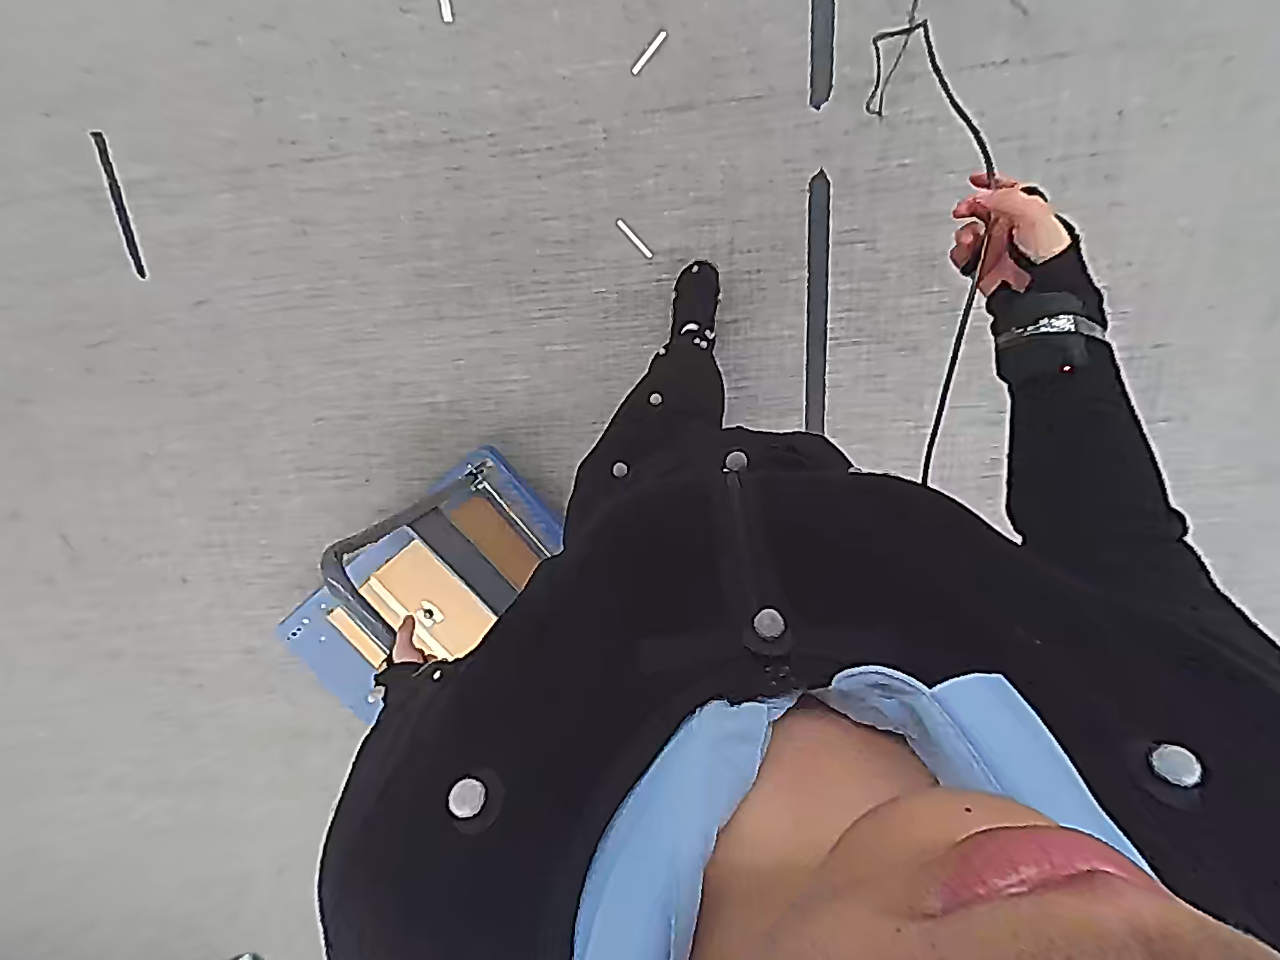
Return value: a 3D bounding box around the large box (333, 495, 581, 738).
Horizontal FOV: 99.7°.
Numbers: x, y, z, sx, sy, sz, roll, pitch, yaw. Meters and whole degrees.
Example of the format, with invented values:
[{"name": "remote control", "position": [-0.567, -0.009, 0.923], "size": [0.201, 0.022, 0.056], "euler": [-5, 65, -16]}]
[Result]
[{"name": "large box", "position": [-0.407, 0.309, 1.300], "size": [0.320, 0.320, 0.408], "euler": [-38, 97, 13]}]
